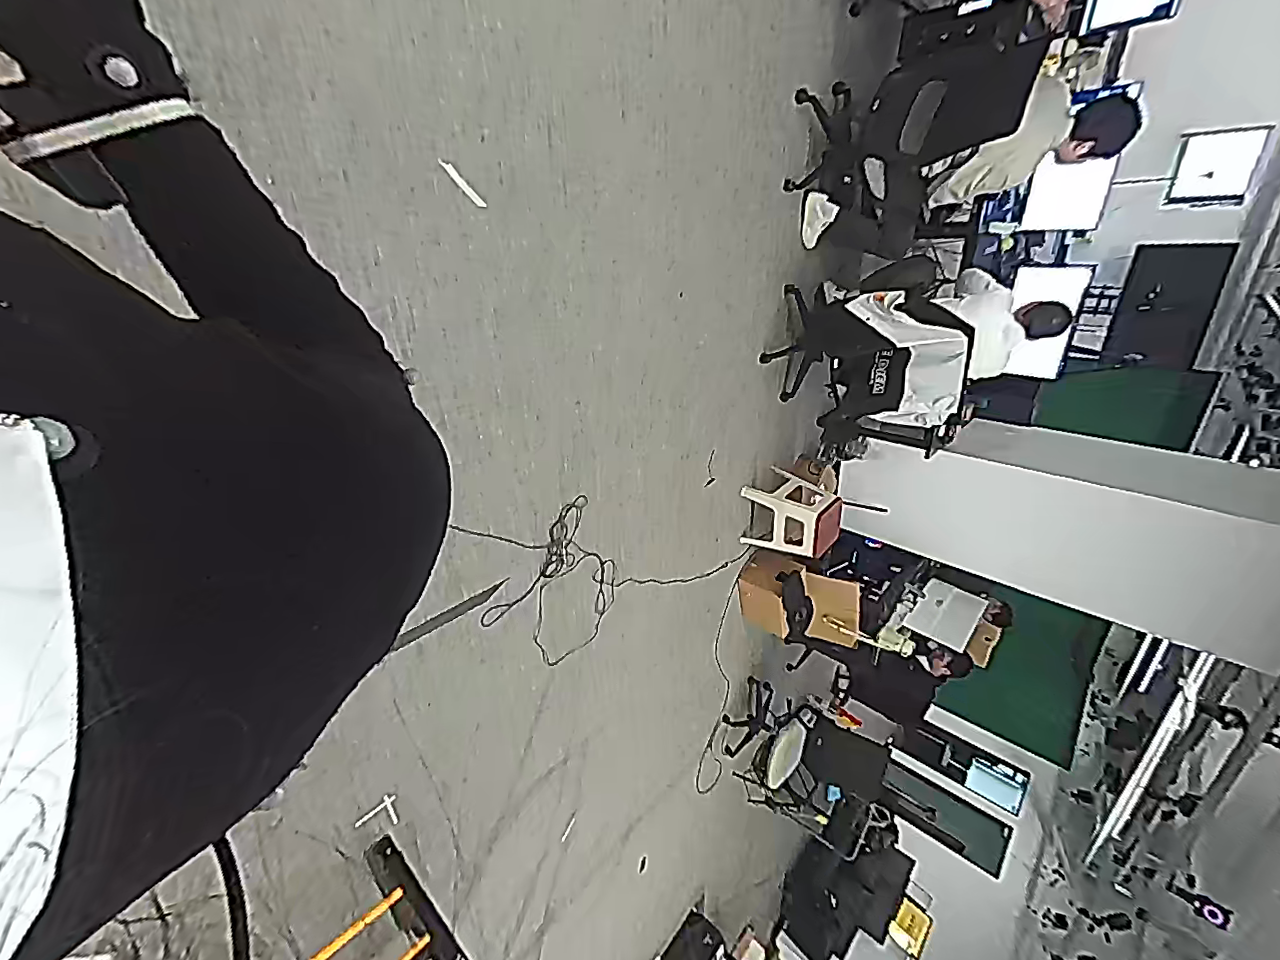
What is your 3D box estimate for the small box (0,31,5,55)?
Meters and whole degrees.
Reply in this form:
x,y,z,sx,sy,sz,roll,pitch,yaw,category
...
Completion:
x,y,z,sx,sy,sz,roll,pitch,yaw,category
-0.736,-0.483,0.478,0.179,0.176,0.168,-29,127,-41,small box
